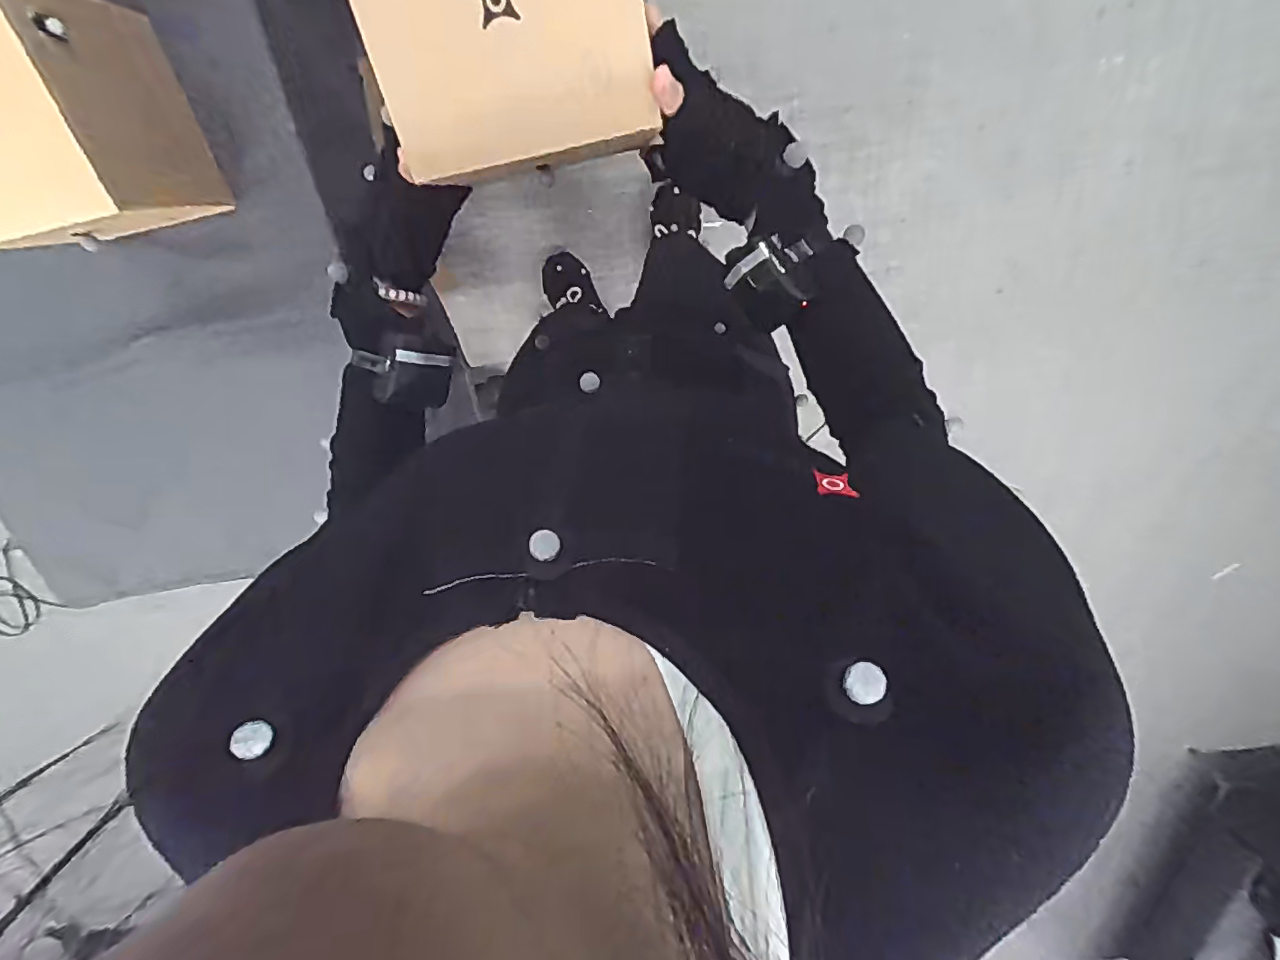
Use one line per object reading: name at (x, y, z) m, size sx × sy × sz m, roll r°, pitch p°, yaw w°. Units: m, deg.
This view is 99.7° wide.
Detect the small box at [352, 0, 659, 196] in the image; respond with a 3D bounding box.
small box at (-0.083, -0.312, 0.377) m, size 0.168 × 0.176 × 0.179 m, roll -11°, pitch 118°, yaw 2°

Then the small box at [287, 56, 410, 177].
small box at (-0.564, -0.729, 1.103) m, size 0.168 × 0.176 × 0.179 m, roll -9°, pitch 119°, yaw 2°

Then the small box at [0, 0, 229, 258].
small box at (-0.542, -0.319, 0.501) m, size 0.168 × 0.176 × 0.179 m, roll -11°, pitch 118°, yaw 4°
